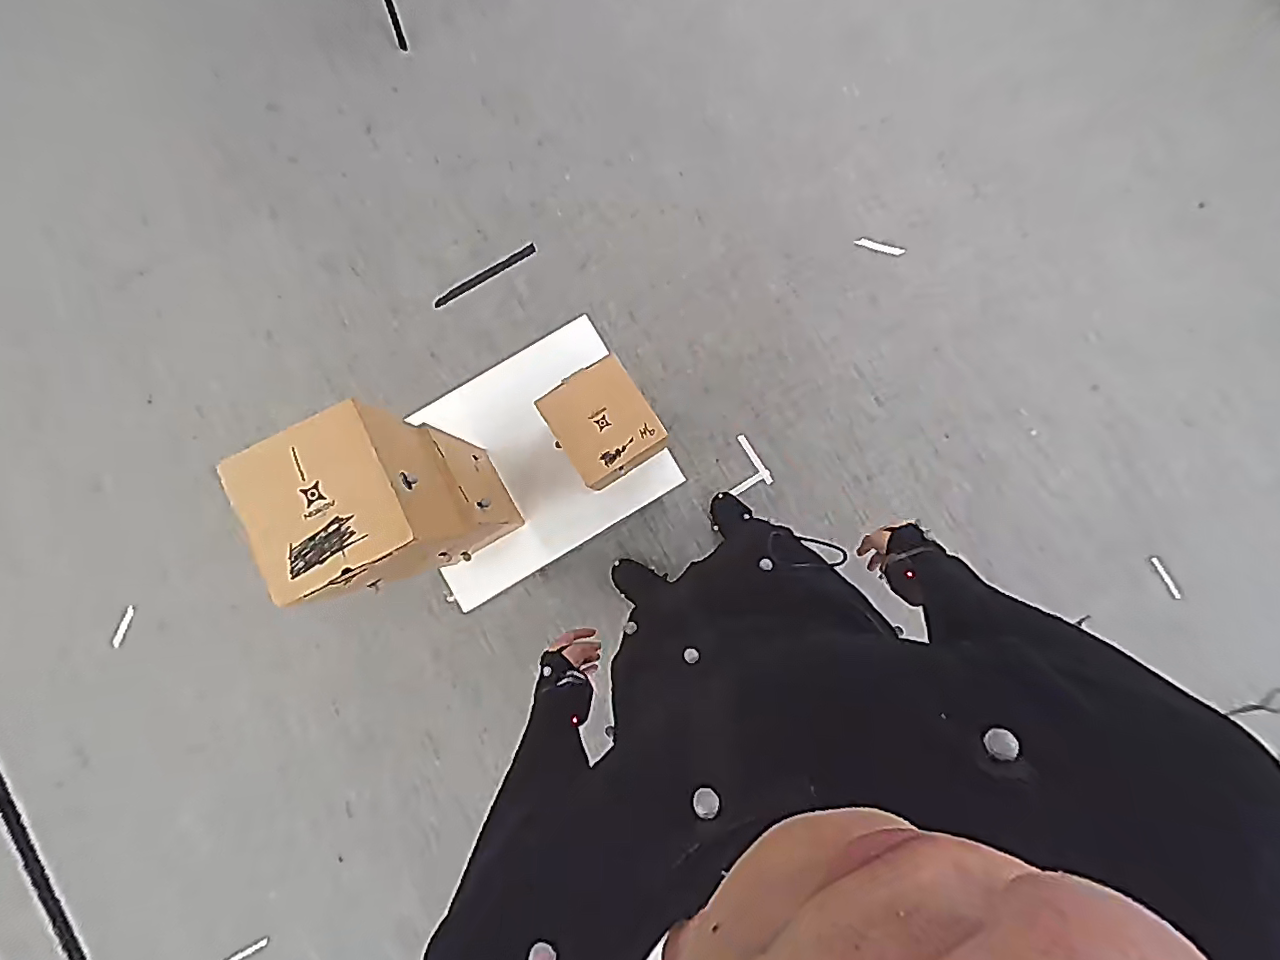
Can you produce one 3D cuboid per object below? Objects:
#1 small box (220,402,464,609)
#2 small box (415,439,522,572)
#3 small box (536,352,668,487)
[{"bbox_3d":[-0.342,0.031,0.657,0.168,0.176,0.179,-27,85,-1],"label":"small box"},{"bbox_3d":[-0.336,0.046,0.986,0.168,0.176,0.179,-30,86,-2],"label":"small box"},{"bbox_3d":[-0.064,-0.100,0.992,0.168,0.176,0.179,-33,86,0],"label":"small box"}]
